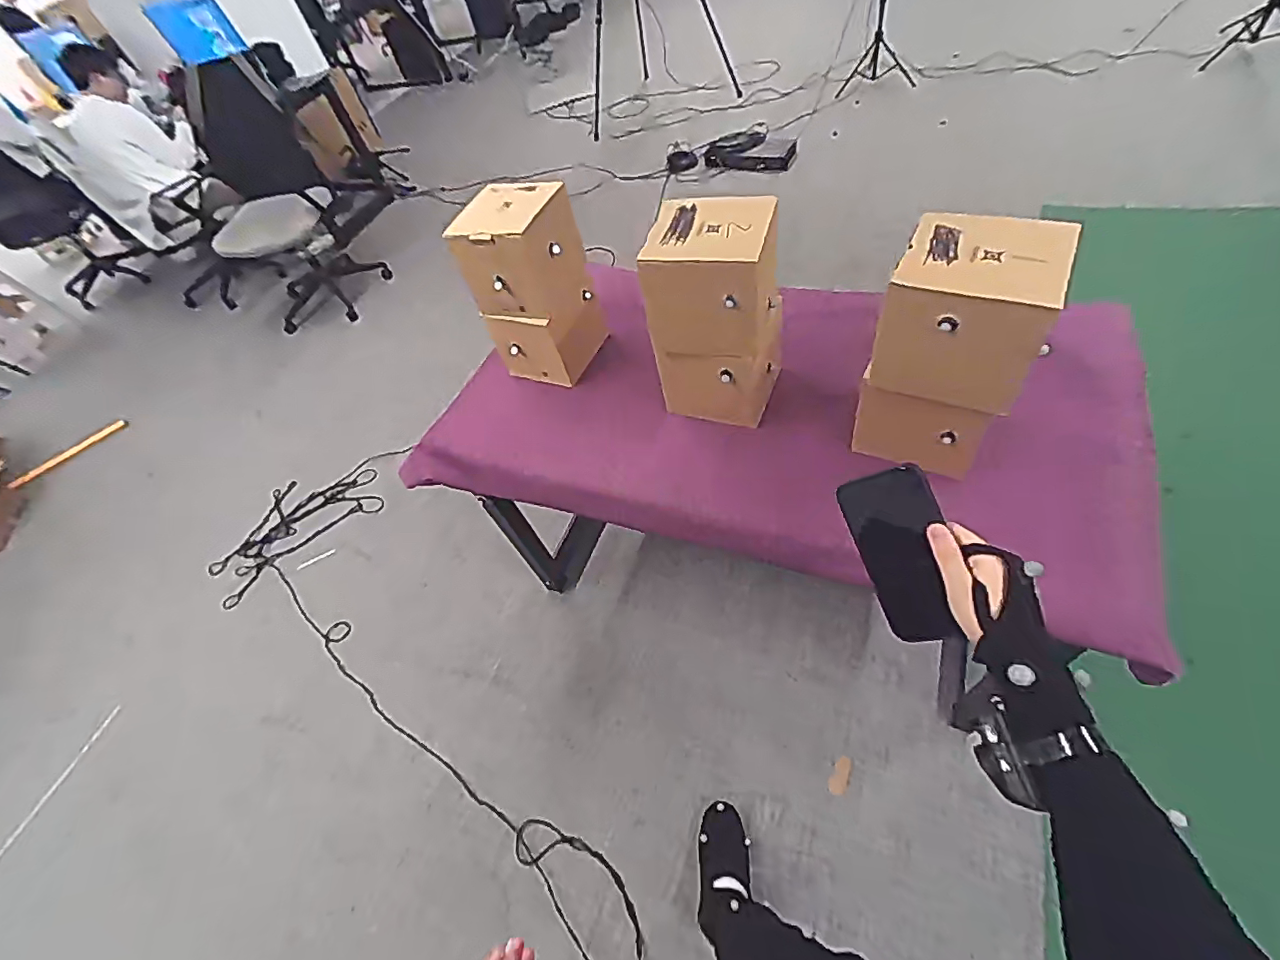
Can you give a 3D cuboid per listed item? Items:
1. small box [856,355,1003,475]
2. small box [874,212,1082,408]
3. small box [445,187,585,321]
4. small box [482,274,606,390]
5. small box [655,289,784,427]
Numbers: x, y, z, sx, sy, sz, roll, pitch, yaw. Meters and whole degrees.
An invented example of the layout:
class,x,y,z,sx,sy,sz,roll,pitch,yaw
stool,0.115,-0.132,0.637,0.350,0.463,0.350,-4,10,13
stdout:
class,x,y,z,sx,sy,sz,roll,pitch,yaw
small box,0.449,-0.131,0.829,0.179,0.176,0.168,19,60,27
small box,0.417,-0.216,0.691,0.179,0.176,0.168,19,60,26
small box,-0.220,-0.418,1.013,0.168,0.176,0.179,10,57,20
small box,-0.190,-0.313,1.136,0.168,0.176,0.179,14,58,24
small box,0.150,-0.215,0.970,0.179,0.176,0.168,13,58,23
